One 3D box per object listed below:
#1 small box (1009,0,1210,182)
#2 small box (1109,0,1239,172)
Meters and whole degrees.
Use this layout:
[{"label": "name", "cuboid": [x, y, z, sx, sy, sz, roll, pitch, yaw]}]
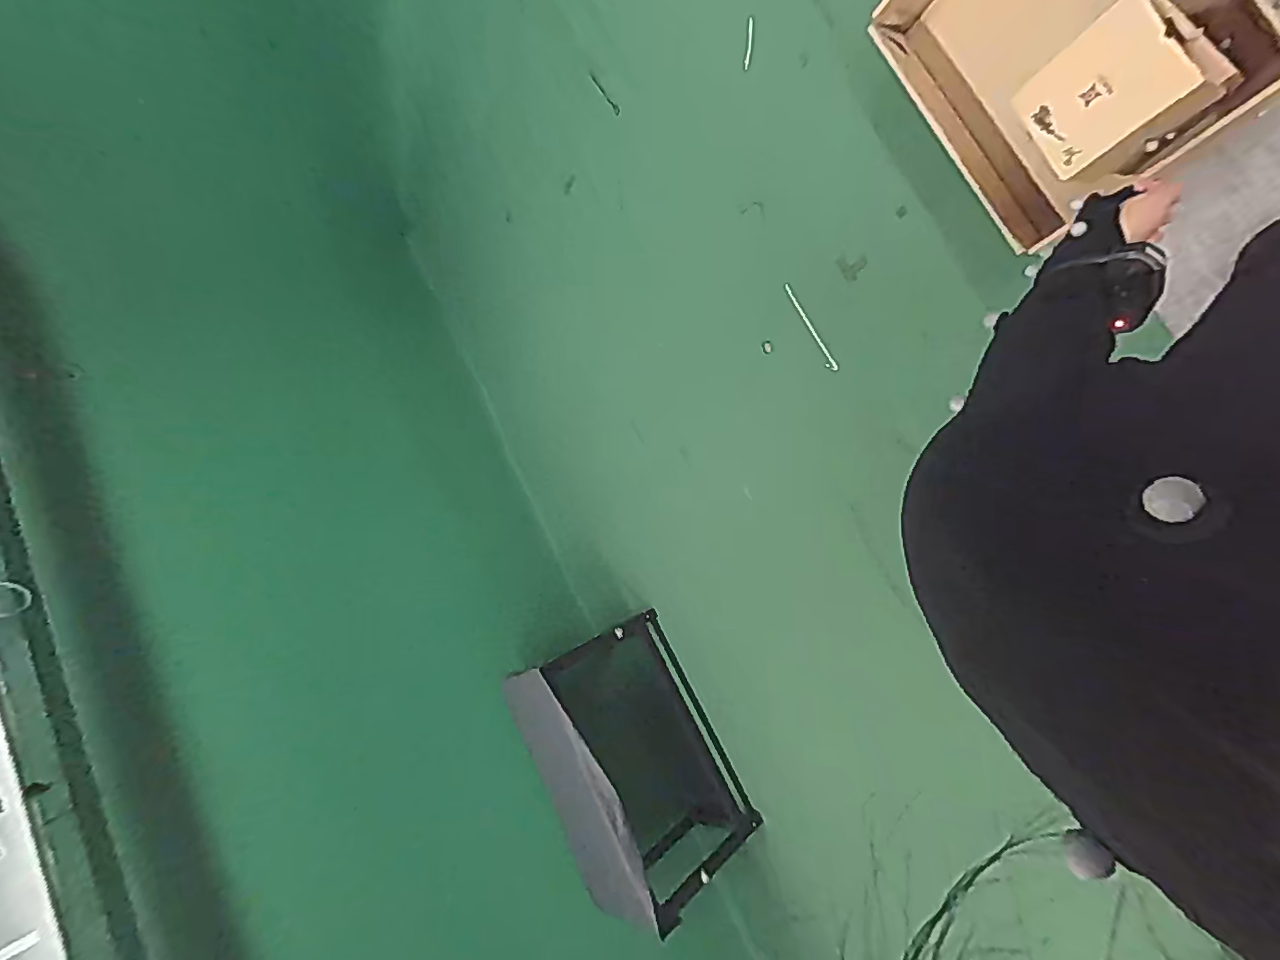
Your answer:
[{"label": "small box", "cuboid": [0.724, -0.592, 0.833, 0.179, 0.176, 0.168, -35, 79, 53]}, {"label": "small box", "cuboid": [0.850, -0.654, 0.919, 0.168, 0.176, 0.179, 61, 143, 11]}]
